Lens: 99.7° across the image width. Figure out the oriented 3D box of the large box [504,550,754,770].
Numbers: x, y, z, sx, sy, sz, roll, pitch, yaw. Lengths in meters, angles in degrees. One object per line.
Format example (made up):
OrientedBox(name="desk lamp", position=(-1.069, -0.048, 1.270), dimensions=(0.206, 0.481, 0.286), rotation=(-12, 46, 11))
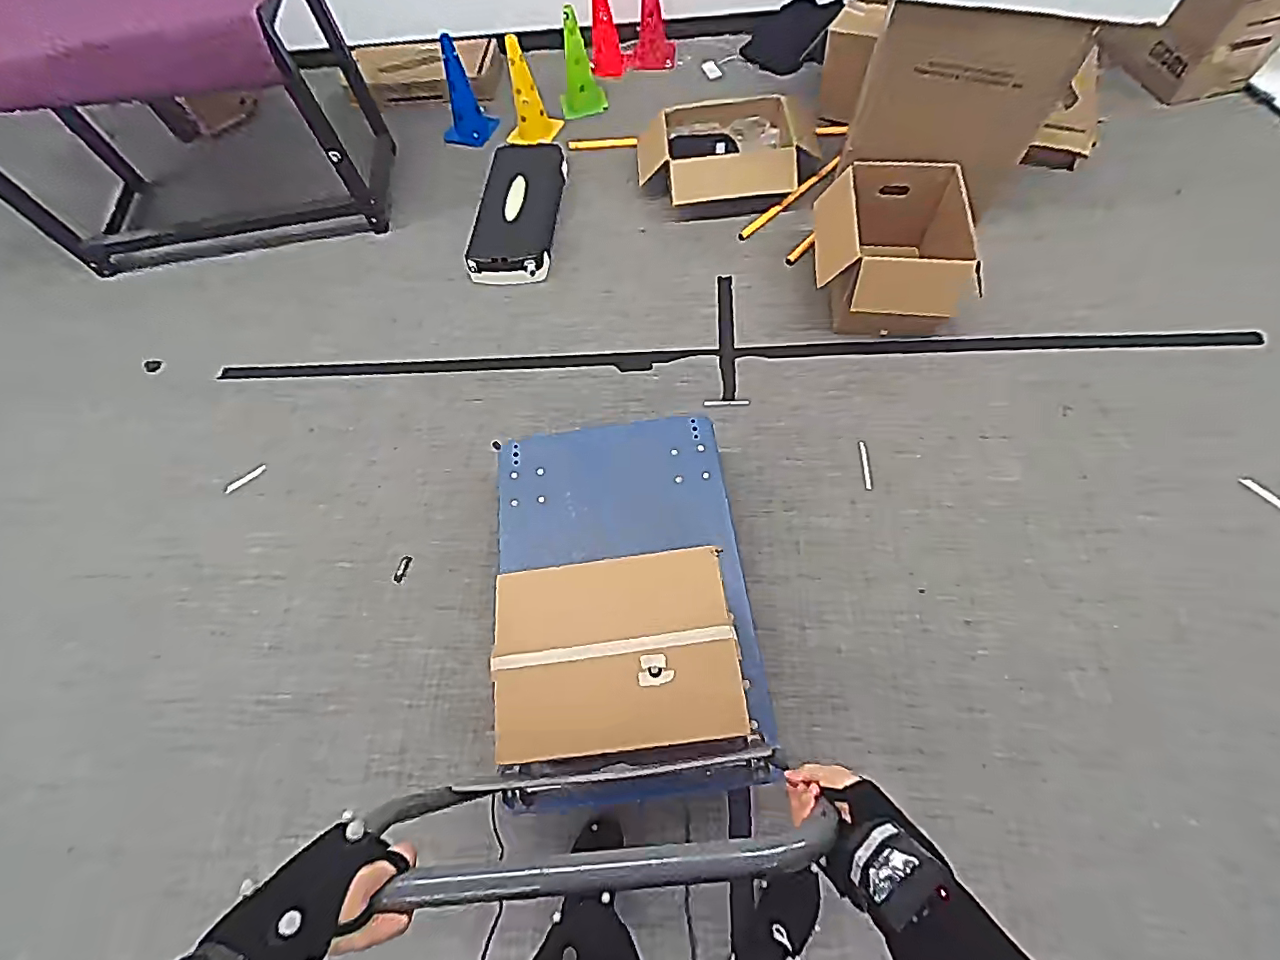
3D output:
OrientedBox(name="large box", position=(-0.023, 0.358, 1.045), dimensions=(0.408, 0.320, 0.320), rotation=(-8, 63, 1))
